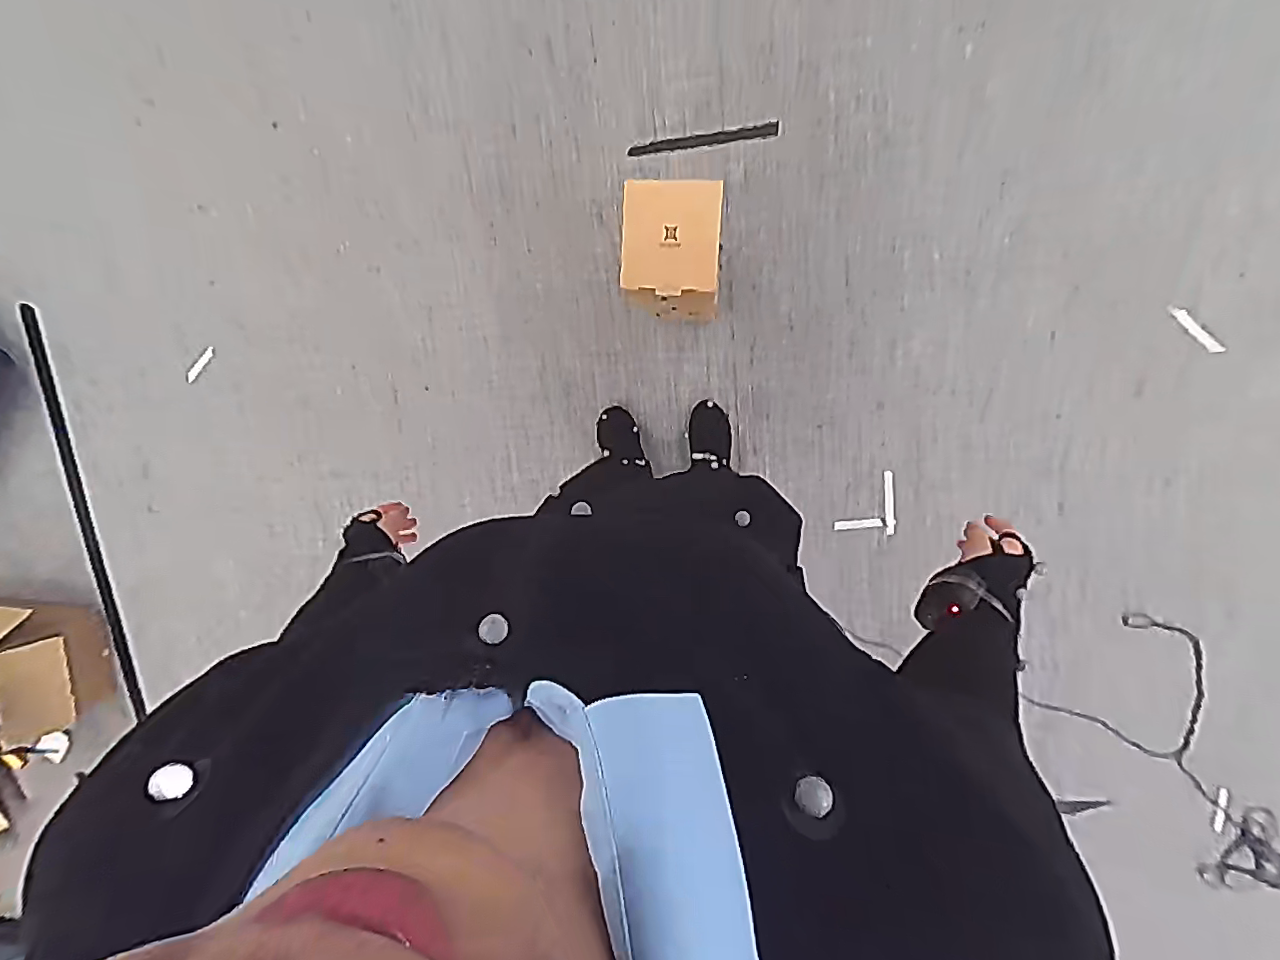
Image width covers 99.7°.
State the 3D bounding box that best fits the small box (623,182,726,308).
[{"bbox_3d":[0.062,-0.417,0.981,0.168,0.176,0.179,3,101,6],"label":"small box"}]

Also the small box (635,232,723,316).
[{"bbox_3d":[0.085,-0.445,1.139,0.168,0.176,0.179,4,101,5],"label":"small box"}]
